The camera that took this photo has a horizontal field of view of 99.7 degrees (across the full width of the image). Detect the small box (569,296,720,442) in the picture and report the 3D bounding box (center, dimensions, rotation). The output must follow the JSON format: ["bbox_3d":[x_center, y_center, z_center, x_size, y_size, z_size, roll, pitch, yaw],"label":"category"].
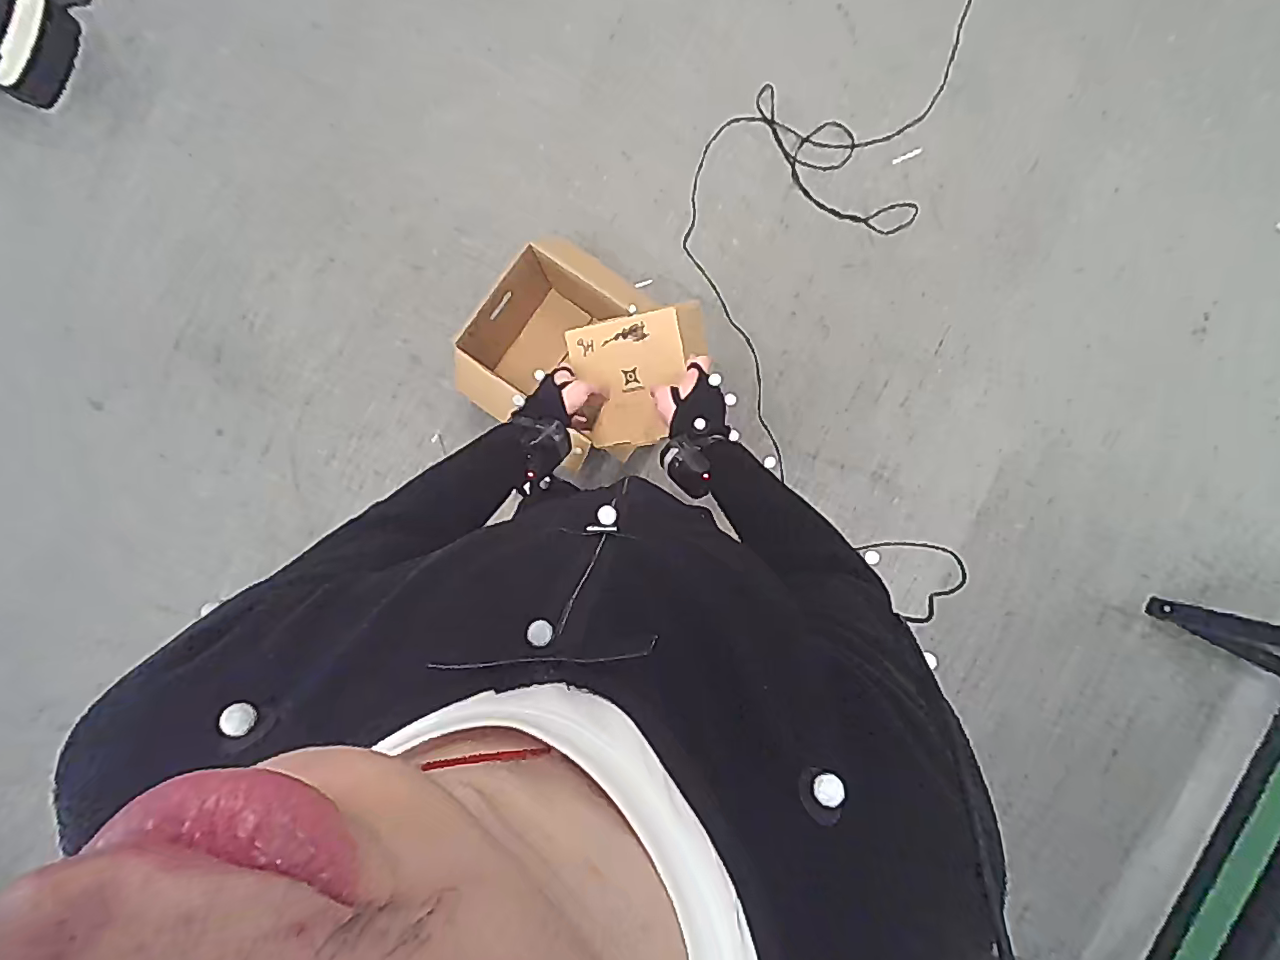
[{"bbox_3d":[0.018,-0.175,0.836,0.168,0.176,0.179,-8,107,22],"label":"small box"}]
